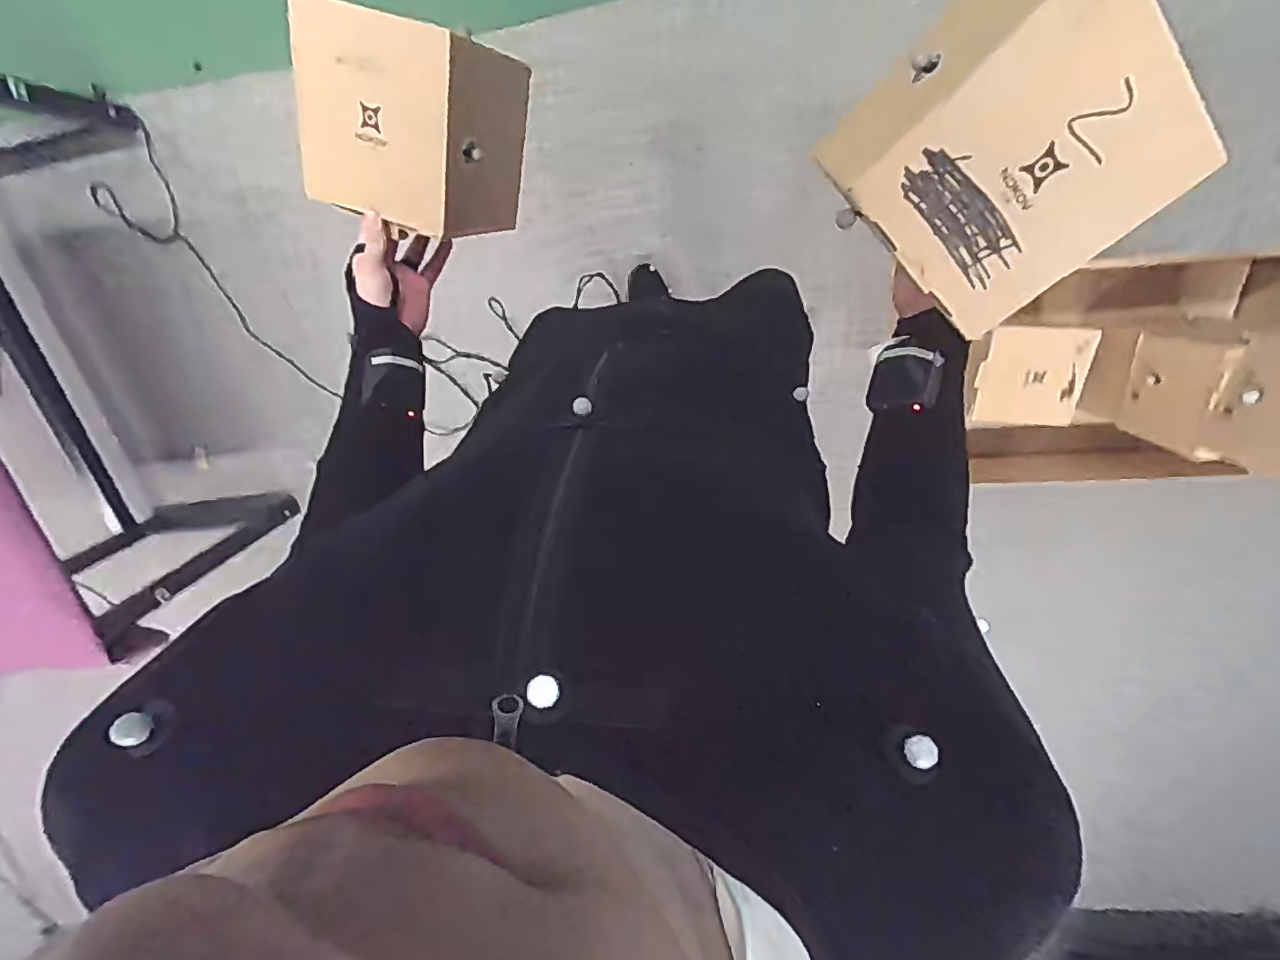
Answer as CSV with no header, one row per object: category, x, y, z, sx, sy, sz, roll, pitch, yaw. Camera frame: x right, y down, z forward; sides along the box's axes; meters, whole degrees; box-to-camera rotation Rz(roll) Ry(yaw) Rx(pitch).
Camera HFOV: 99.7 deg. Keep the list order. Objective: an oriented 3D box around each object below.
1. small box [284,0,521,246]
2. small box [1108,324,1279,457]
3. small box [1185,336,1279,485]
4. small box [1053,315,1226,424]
small box,-0.245,-0.377,0.593,0.168,0.176,0.179,19,121,5
small box,0.902,-0.145,0.848,0.179,0.176,0.168,-3,113,7
small box,0.891,-0.086,0.696,0.179,0.176,0.168,7,114,4
small box,0.919,-0.209,0.997,0.179,0.176,0.168,-2,112,7
